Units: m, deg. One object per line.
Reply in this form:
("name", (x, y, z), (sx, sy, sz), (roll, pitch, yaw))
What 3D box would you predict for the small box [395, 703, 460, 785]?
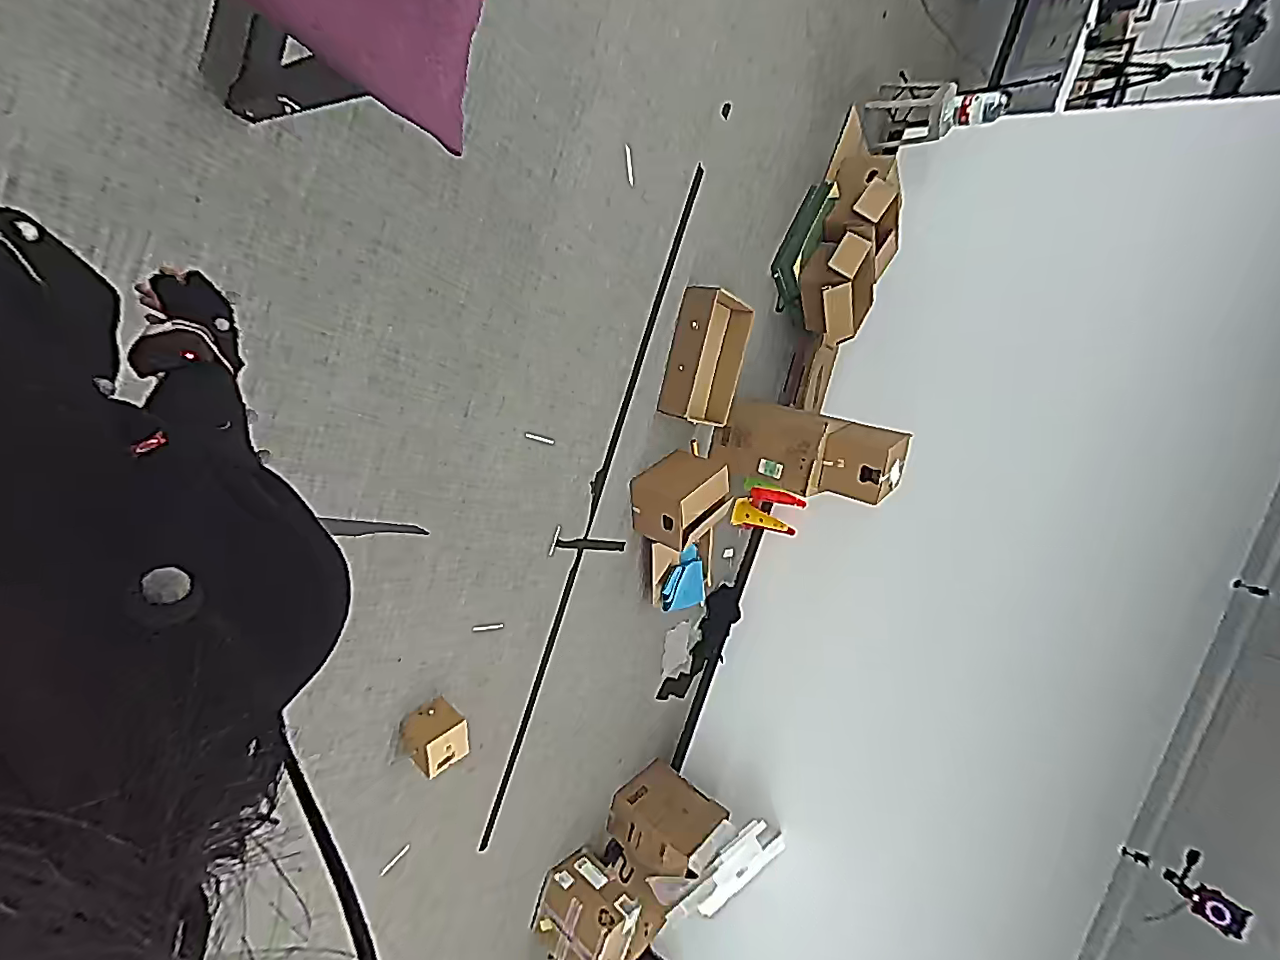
("small box", (-0.792, 0.977, 2.015), (0.168, 0.176, 0.179), (-21, 123, -48))
